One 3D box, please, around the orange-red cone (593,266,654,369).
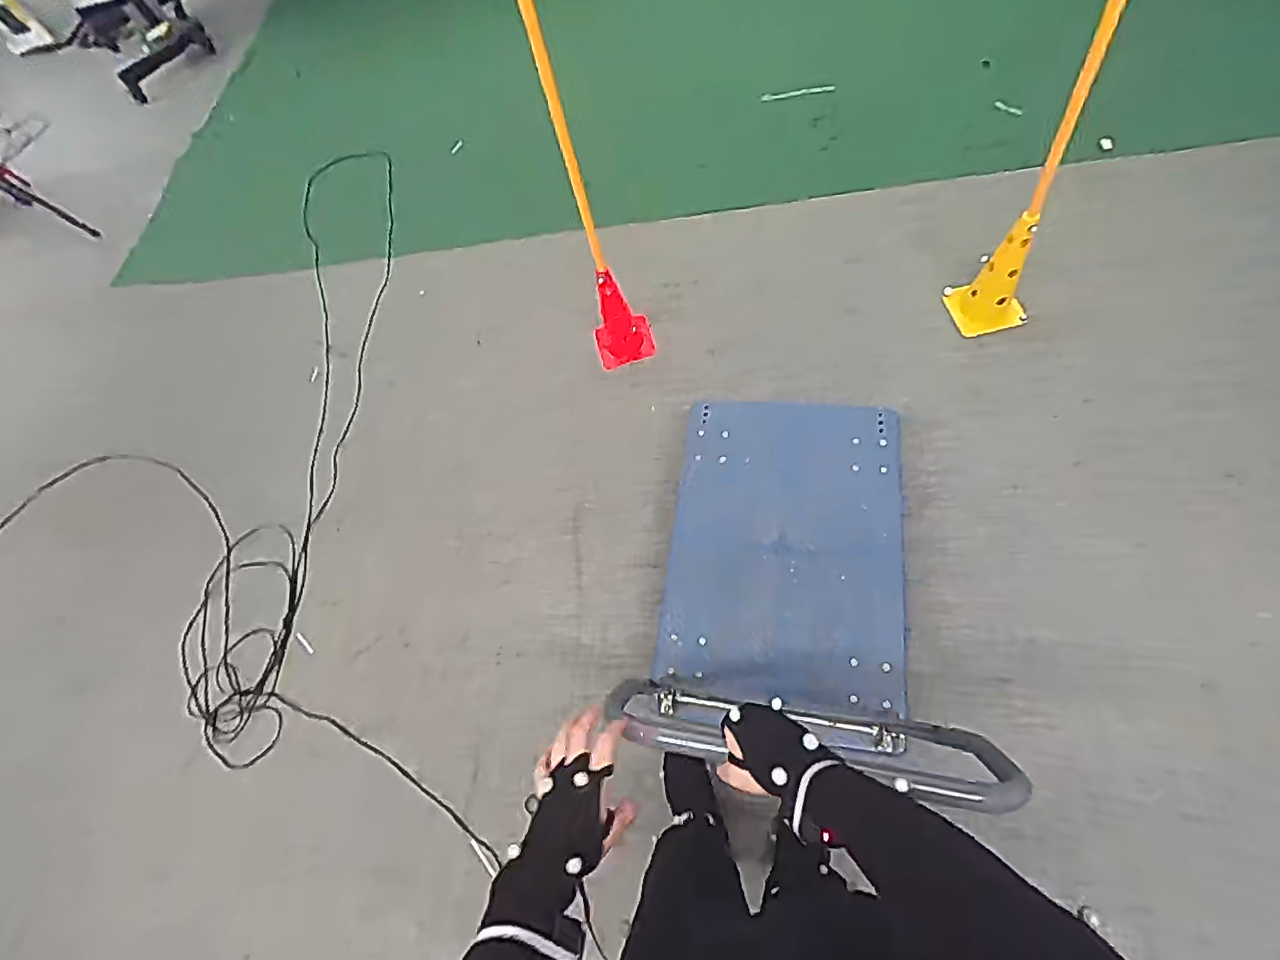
[{"bbox_3d":[-0.093,-0.568,1.809,0.199,0.360,0.198,-17,63,5],"label":"orange-red cone"}]
